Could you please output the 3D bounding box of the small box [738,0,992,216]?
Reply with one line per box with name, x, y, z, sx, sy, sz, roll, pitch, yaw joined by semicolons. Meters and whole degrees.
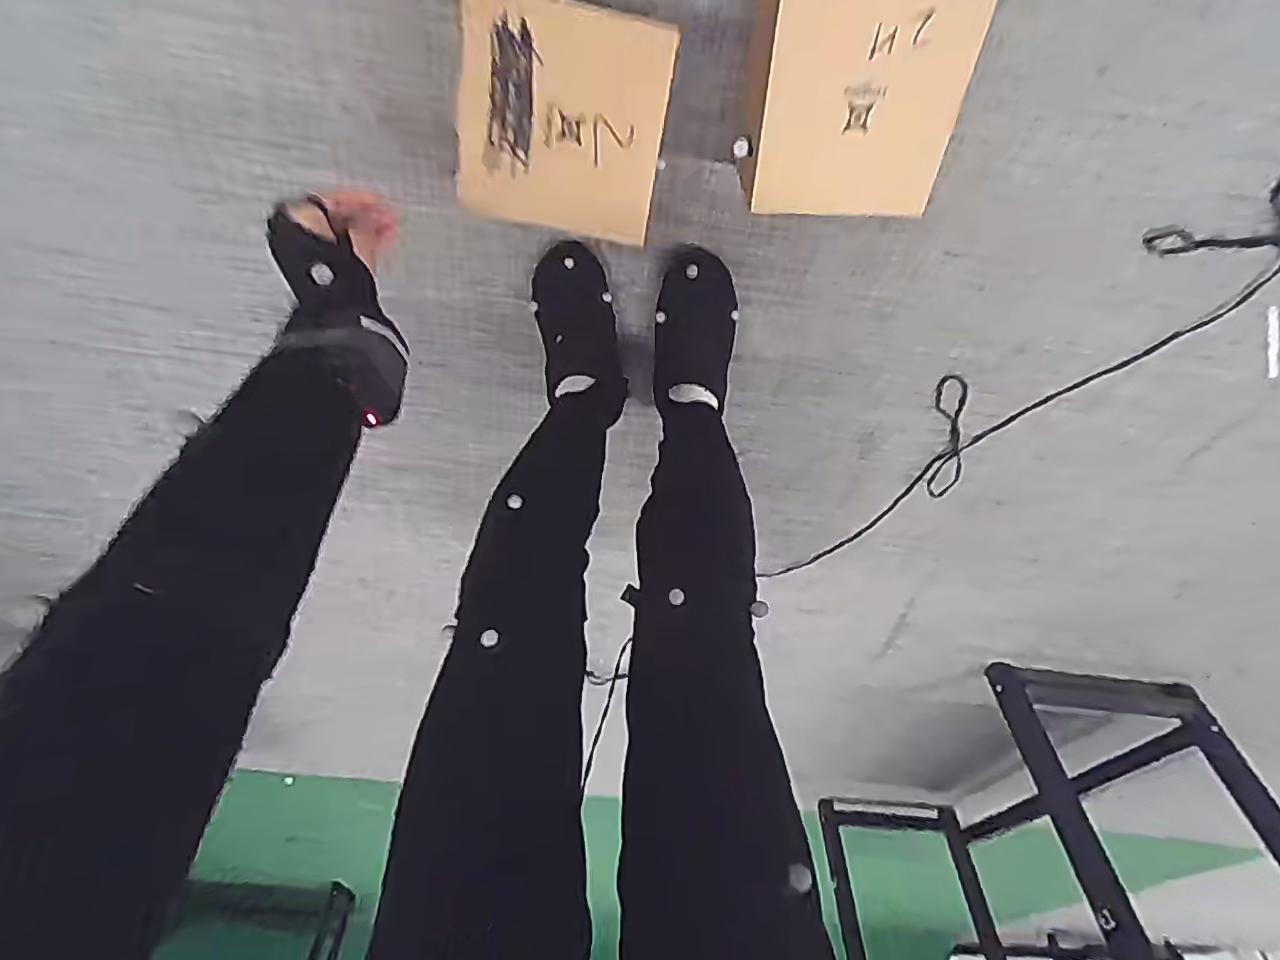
small box;0.191;-0.376;0.521;0.168;0.176;0.179;2;133;1
